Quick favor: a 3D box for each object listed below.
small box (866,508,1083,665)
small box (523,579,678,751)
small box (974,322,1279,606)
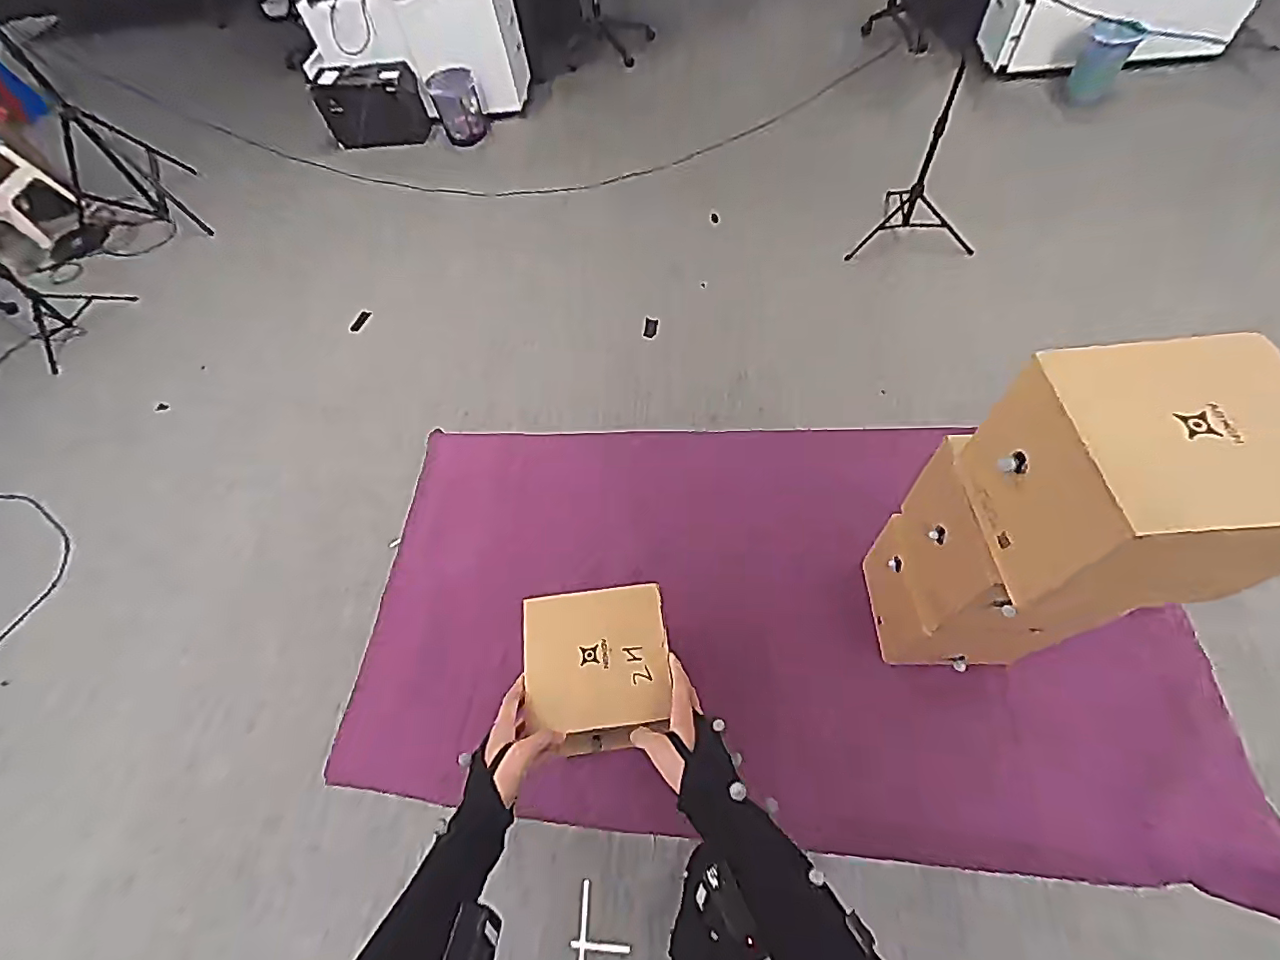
[{"bbox_3d":[0.432,0.149,0.735,0.179,0.176,0.168,-2,59,5],"label":"small box"},{"bbox_3d":[-0.048,0.246,0.707,0.179,0.176,0.168,-6,56,-3],"label":"small box"},{"bbox_3d":[0.409,-0.002,0.444,0.179,0.176,0.168,-5,59,4],"label":"small box"}]
